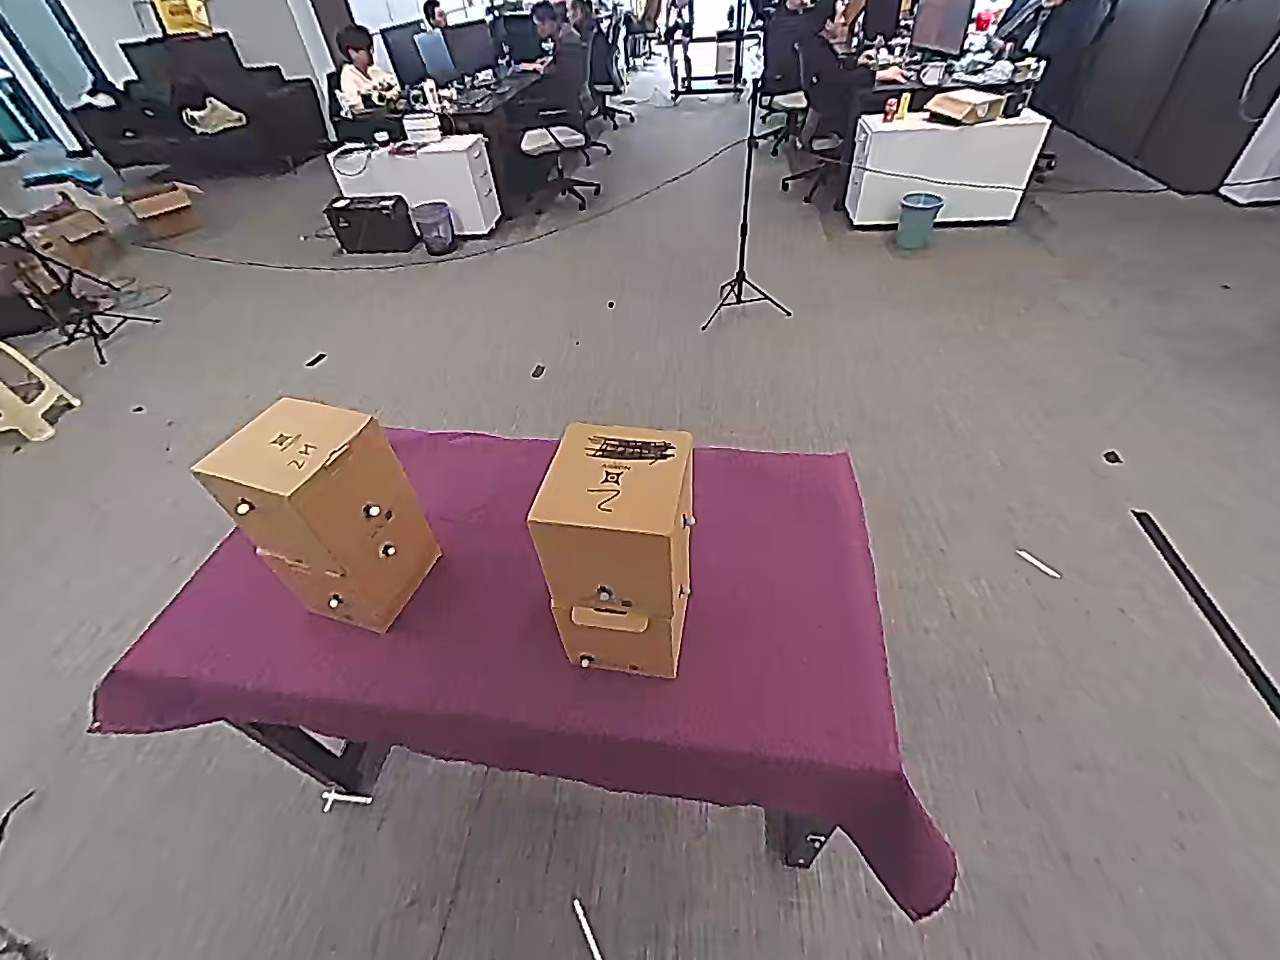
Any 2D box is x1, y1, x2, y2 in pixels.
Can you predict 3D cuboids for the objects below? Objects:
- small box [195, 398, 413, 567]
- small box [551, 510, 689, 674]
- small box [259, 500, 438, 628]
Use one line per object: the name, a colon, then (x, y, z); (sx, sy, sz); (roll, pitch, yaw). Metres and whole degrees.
small box: (-0.475, 0.005, 0.793); (0.179, 0.176, 0.168); (13, 48, 16)
small box: (-0.018, 0.170, 0.816); (0.168, 0.176, 0.179); (5, 44, 10)
small box: (-0.471, 0.121, 0.909); (0.168, 0.176, 0.179); (12, 47, 15)
